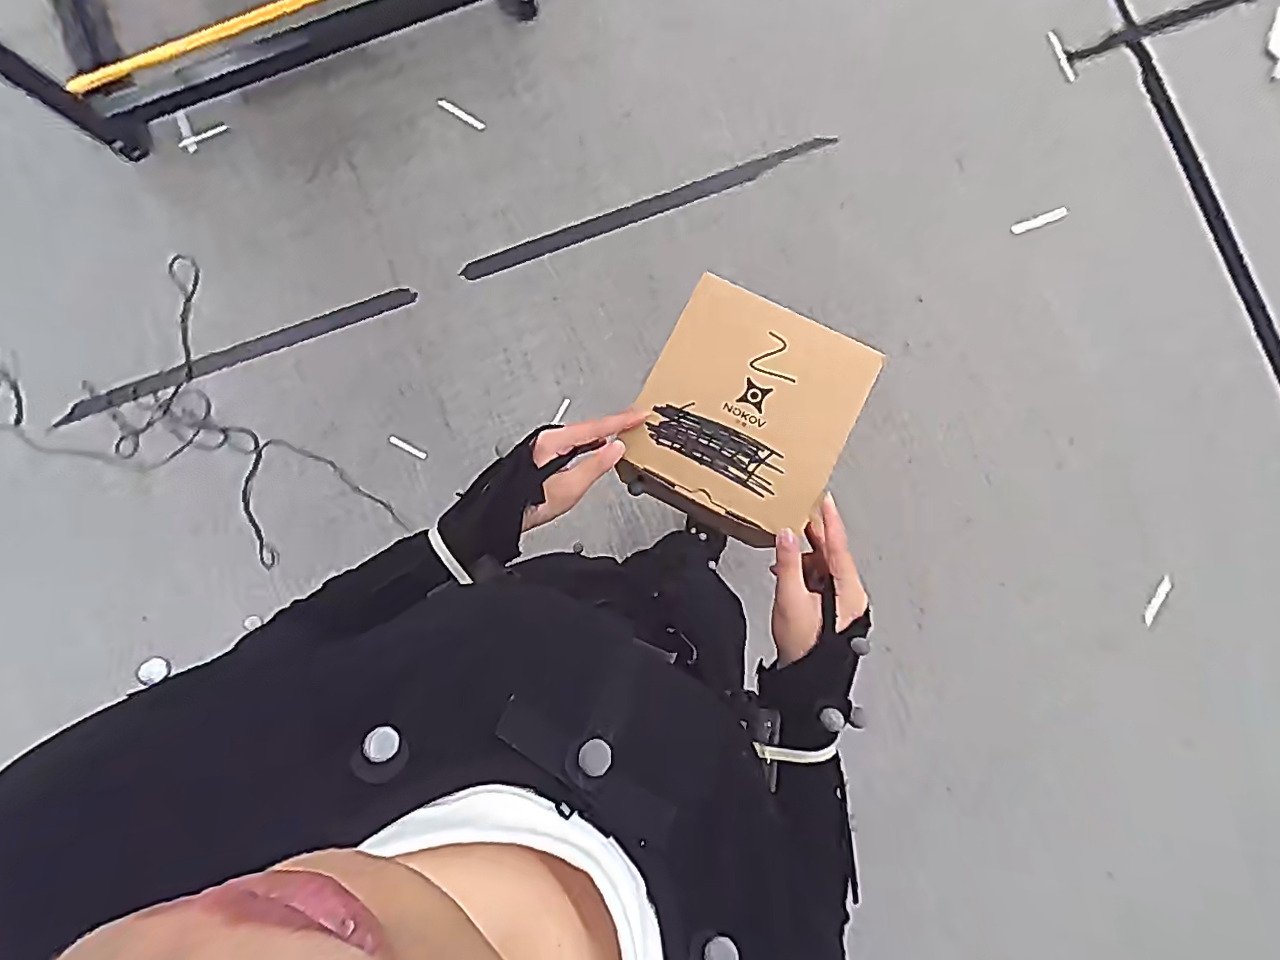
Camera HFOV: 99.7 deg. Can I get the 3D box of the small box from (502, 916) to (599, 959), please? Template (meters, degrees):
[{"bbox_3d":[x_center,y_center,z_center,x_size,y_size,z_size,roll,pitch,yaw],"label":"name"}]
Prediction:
[{"bbox_3d":[-0.170,0.974,1.013,0.179,0.176,0.168,-13,87,-1],"label":"small box"}]

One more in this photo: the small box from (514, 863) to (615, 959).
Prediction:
[{"bbox_3d":[-0.157,0.978,1.176,0.168,0.176,0.179,-16,87,0],"label":"small box"}]
